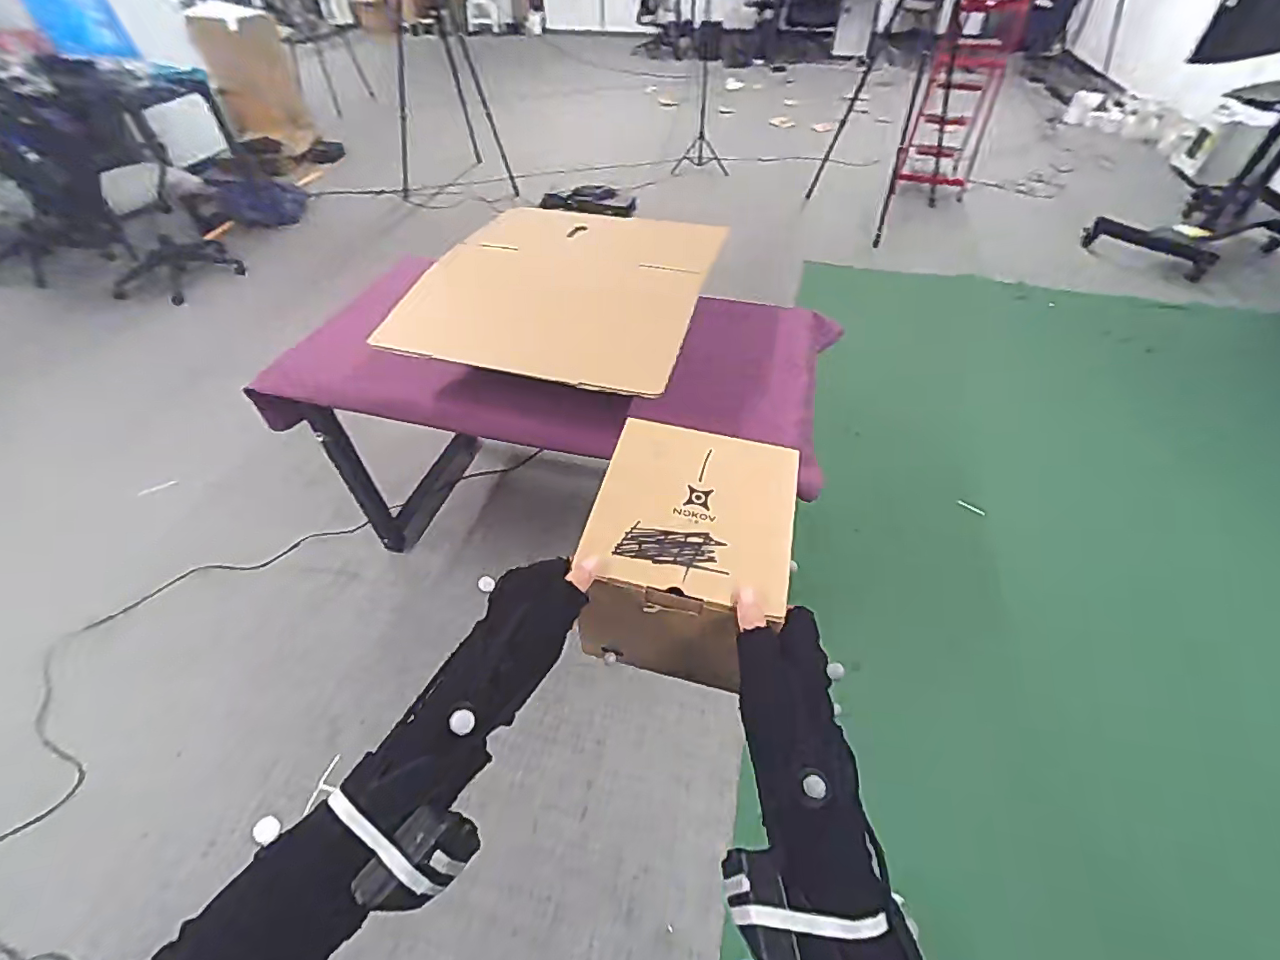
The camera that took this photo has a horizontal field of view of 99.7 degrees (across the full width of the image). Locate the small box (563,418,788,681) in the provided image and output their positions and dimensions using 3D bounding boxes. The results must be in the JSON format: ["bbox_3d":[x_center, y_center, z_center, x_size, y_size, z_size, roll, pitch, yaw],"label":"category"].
[{"bbox_3d":[0.038,0.071,0.523,0.168,0.176,0.179,12,51,8],"label":"small box"}]
